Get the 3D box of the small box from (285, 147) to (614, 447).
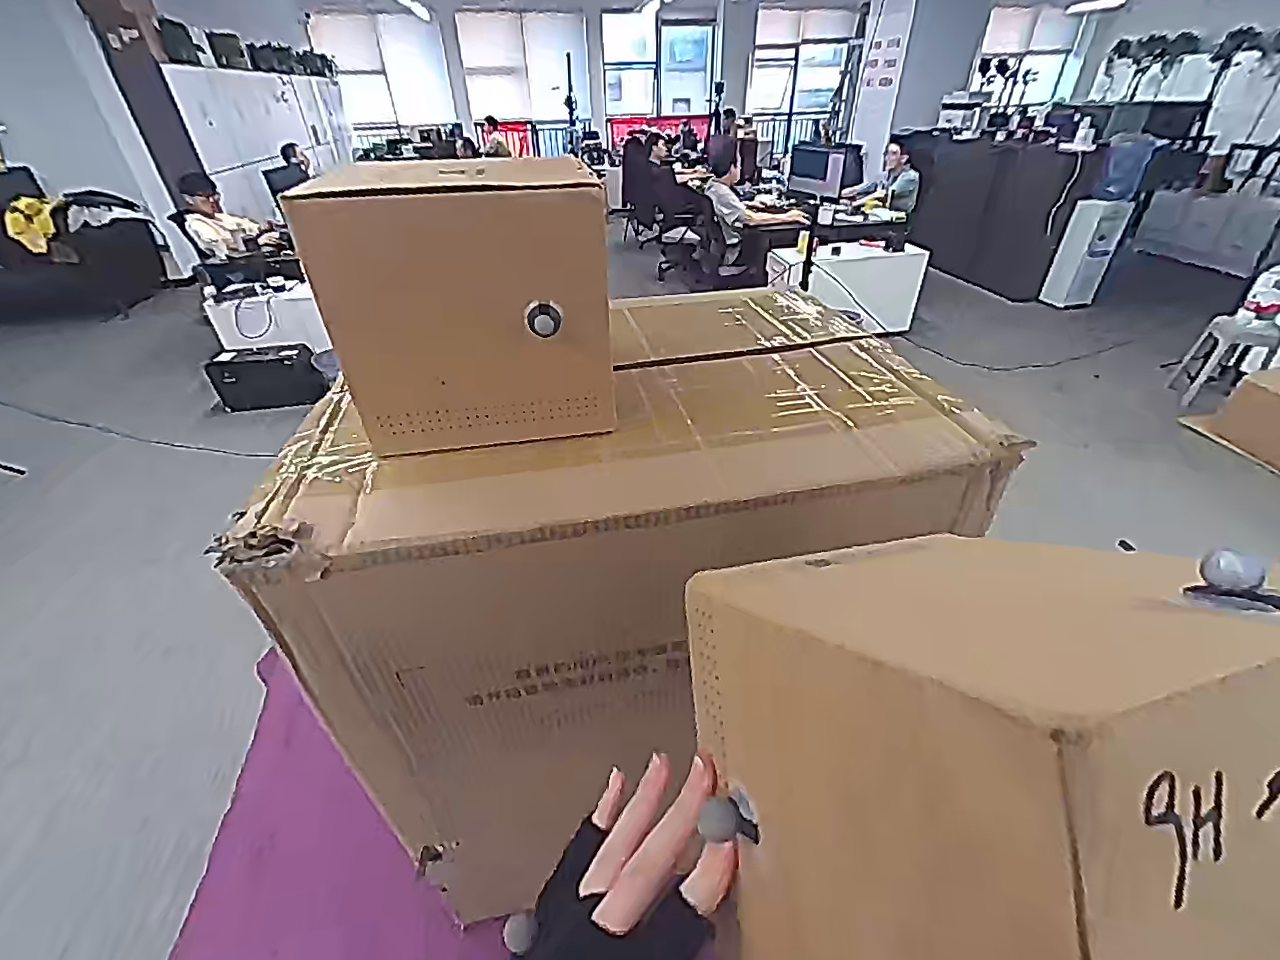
[{"bbox_3d":[-0.115,-0.142,0.405,0.179,0.176,0.168,-8,36,-9],"label":"small box"}]
